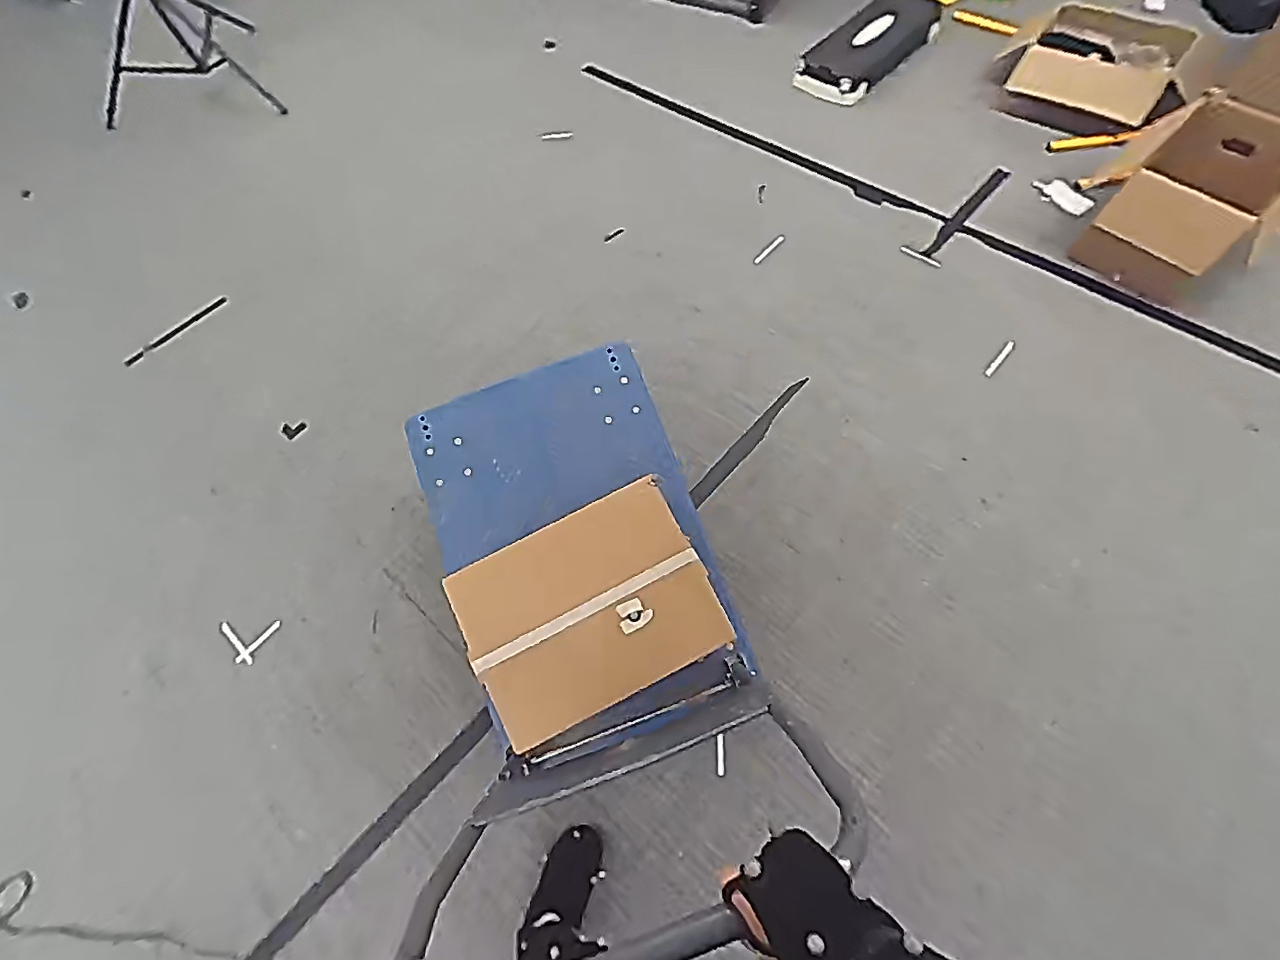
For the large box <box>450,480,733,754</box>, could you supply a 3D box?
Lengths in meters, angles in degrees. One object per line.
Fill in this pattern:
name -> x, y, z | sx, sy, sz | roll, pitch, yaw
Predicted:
large box -> -0.085, 0.256, 1.065 | 0.408, 0.320, 0.320 | -28, 79, -6
